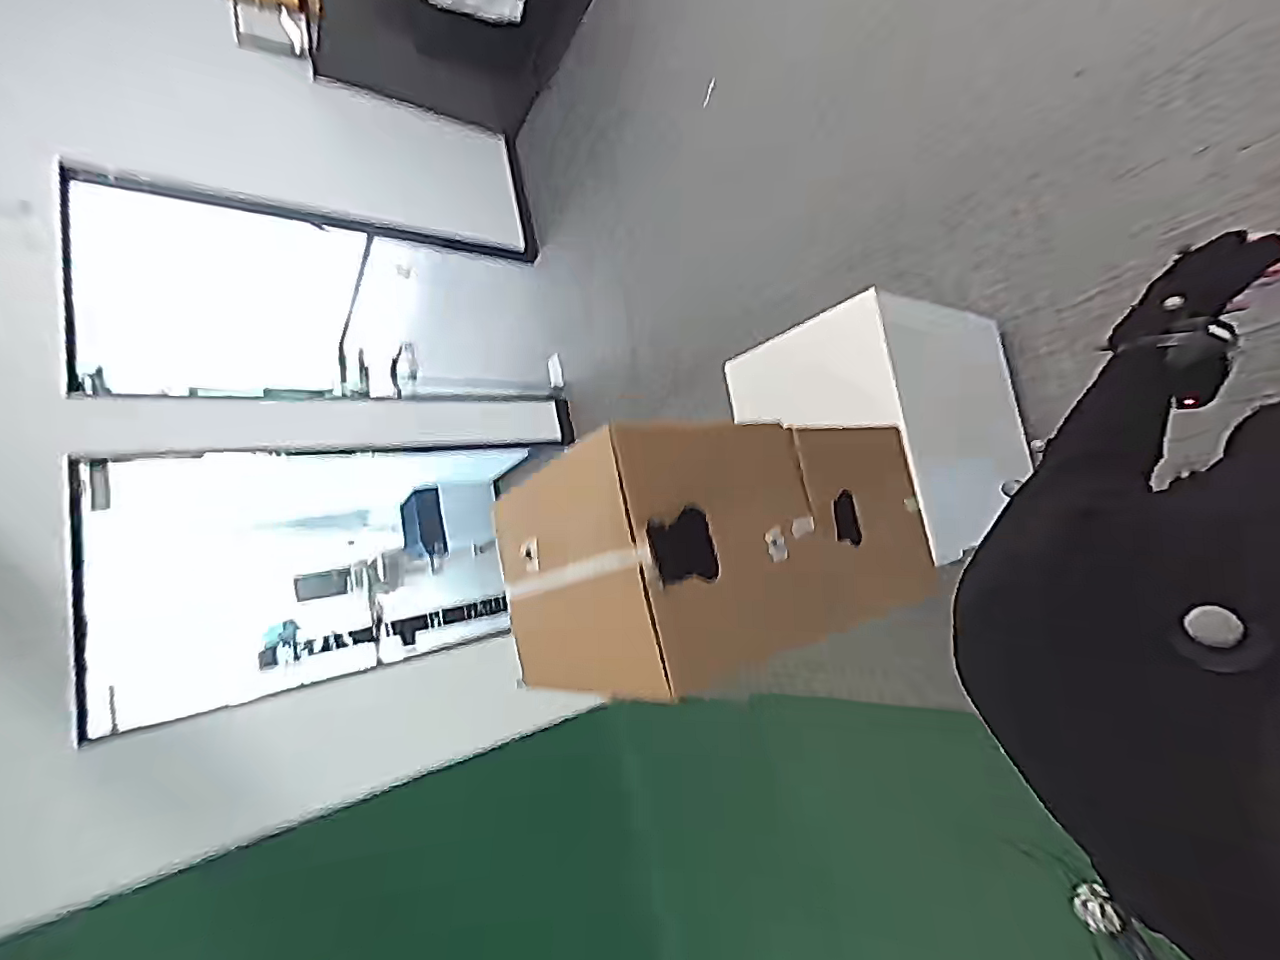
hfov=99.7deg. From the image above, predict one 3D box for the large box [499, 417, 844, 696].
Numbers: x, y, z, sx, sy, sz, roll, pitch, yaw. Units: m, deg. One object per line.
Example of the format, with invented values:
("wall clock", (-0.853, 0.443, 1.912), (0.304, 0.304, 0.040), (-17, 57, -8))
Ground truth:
("large box", (0.021, 0.121, 0.830), (0.408, 0.320, 0.320), (-28, 72, 53))
